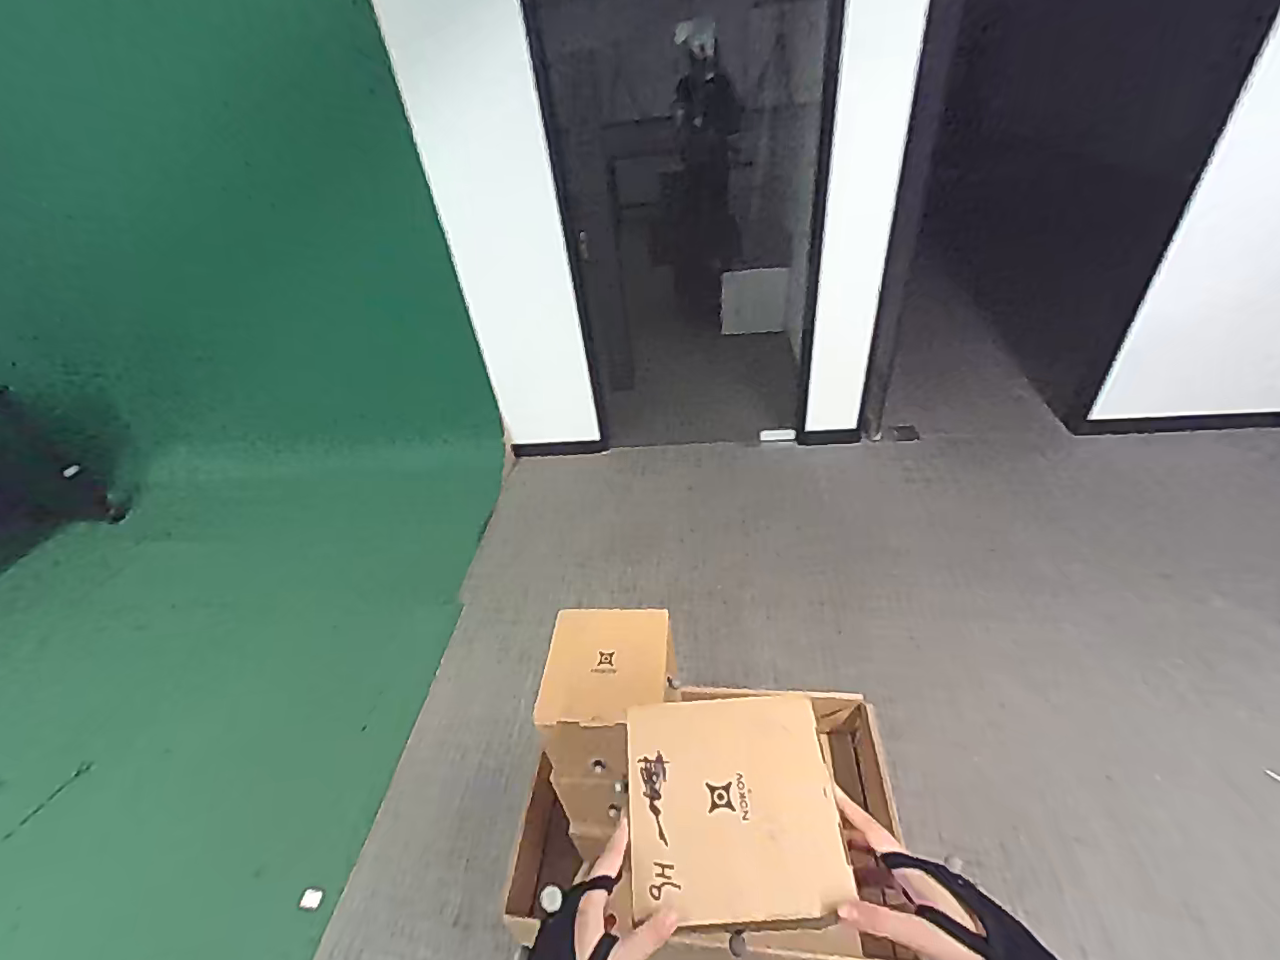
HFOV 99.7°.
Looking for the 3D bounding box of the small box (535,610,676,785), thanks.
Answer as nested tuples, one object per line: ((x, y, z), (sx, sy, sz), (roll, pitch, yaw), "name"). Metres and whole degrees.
((-0.037, 0.309, 0.776), (0.168, 0.176, 0.179), (-2, 39, 8), "small box")

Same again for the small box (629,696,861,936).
((0.081, 0.319, 0.513), (0.179, 0.176, 0.168), (-3, 47, 2), "small box")
